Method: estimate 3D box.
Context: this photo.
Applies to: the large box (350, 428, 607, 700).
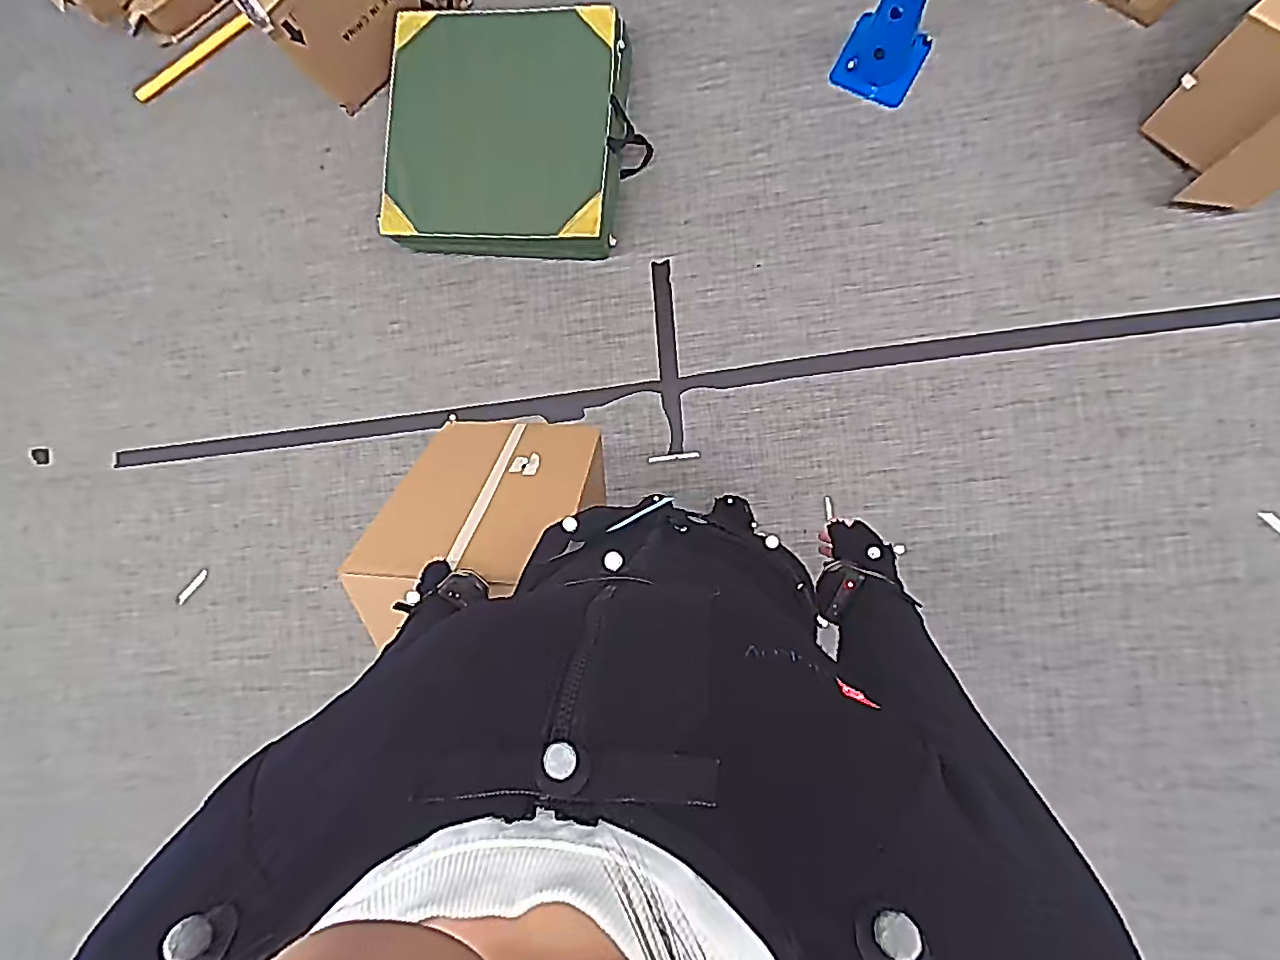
[{"bbox_3d":[-0.250,0.143,1.011,0.320,0.408,0.320,3,128,6],"label":"large box"}]
